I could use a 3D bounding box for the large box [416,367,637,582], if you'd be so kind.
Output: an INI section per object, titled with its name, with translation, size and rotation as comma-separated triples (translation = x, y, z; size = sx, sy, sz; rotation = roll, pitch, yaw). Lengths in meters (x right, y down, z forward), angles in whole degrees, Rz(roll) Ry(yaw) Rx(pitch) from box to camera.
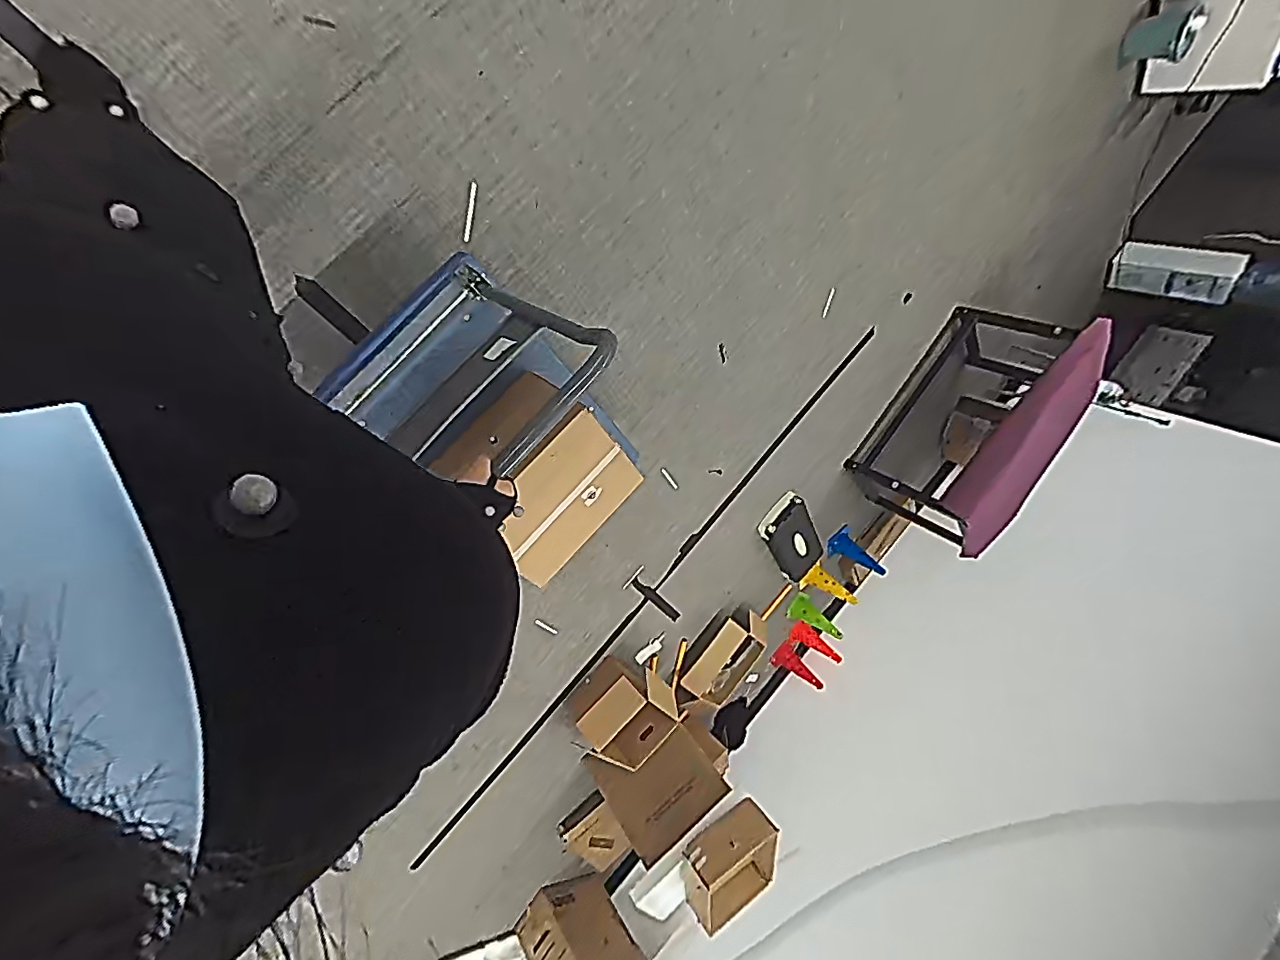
[large box]
translation = -0.294, -0.020, 1.411
size = 0.408, 0.320, 0.320
rotation = -48, 137, -9
